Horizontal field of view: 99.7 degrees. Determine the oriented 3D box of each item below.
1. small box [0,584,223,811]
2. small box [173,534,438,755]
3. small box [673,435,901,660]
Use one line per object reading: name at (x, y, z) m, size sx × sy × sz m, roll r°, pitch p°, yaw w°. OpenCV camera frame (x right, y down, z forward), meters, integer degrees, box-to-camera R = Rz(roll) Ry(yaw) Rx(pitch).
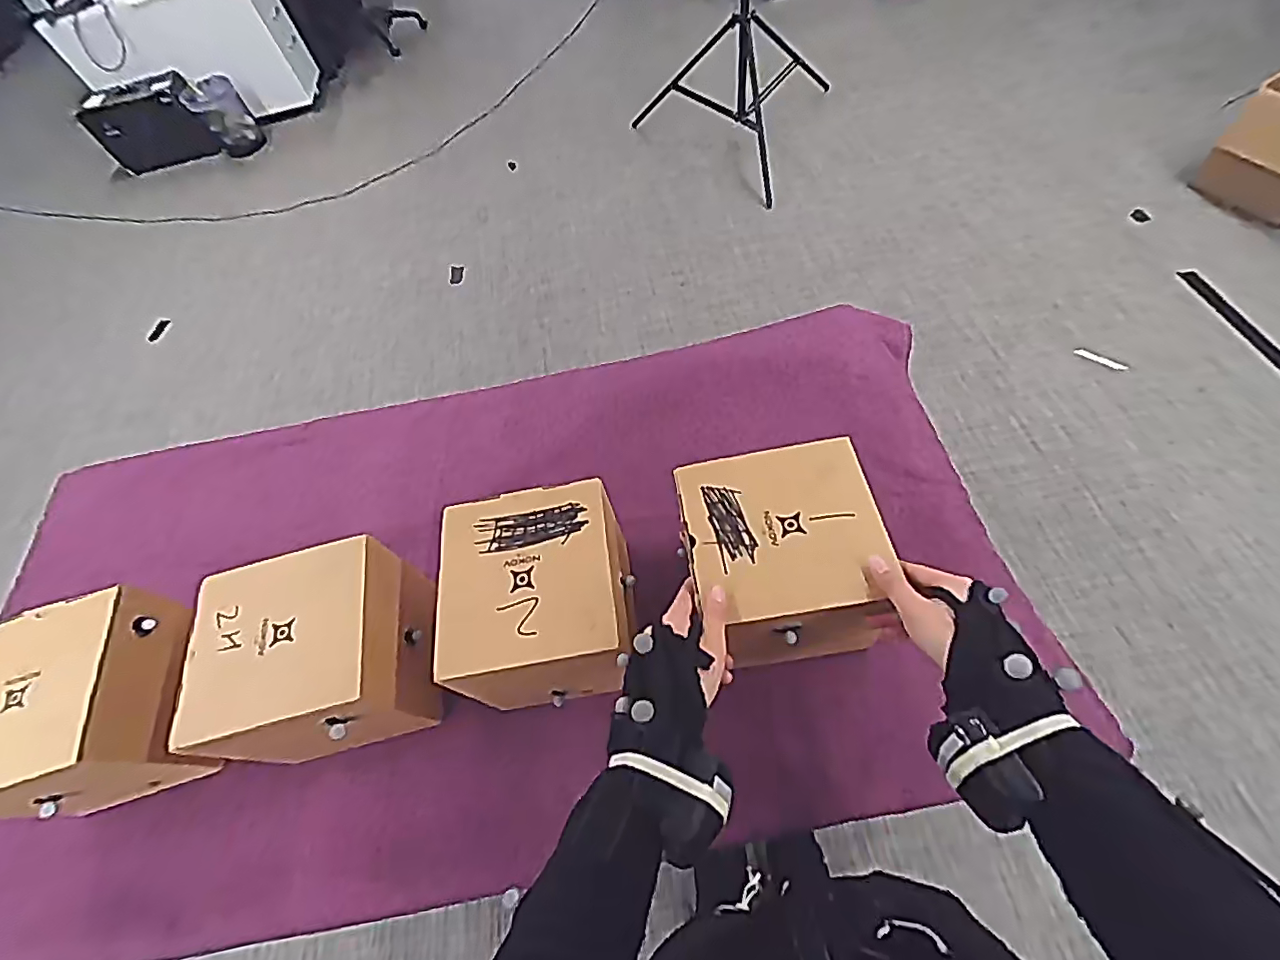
small box at (-0.580, 0.241, 0.587) m, size 0.168 × 0.176 × 0.179 m, roll -18°, pitch 58°, yaw -2°
small box at (-0.330, 0.182, 0.579) m, size 0.179 × 0.176 × 0.168 m, roll -16°, pitch 58°, yaw 0°
small box at (0.136, 0.078, 0.560) m, size 0.179 × 0.176 × 0.168 m, roll -9°, pitch 58°, yaw 3°
